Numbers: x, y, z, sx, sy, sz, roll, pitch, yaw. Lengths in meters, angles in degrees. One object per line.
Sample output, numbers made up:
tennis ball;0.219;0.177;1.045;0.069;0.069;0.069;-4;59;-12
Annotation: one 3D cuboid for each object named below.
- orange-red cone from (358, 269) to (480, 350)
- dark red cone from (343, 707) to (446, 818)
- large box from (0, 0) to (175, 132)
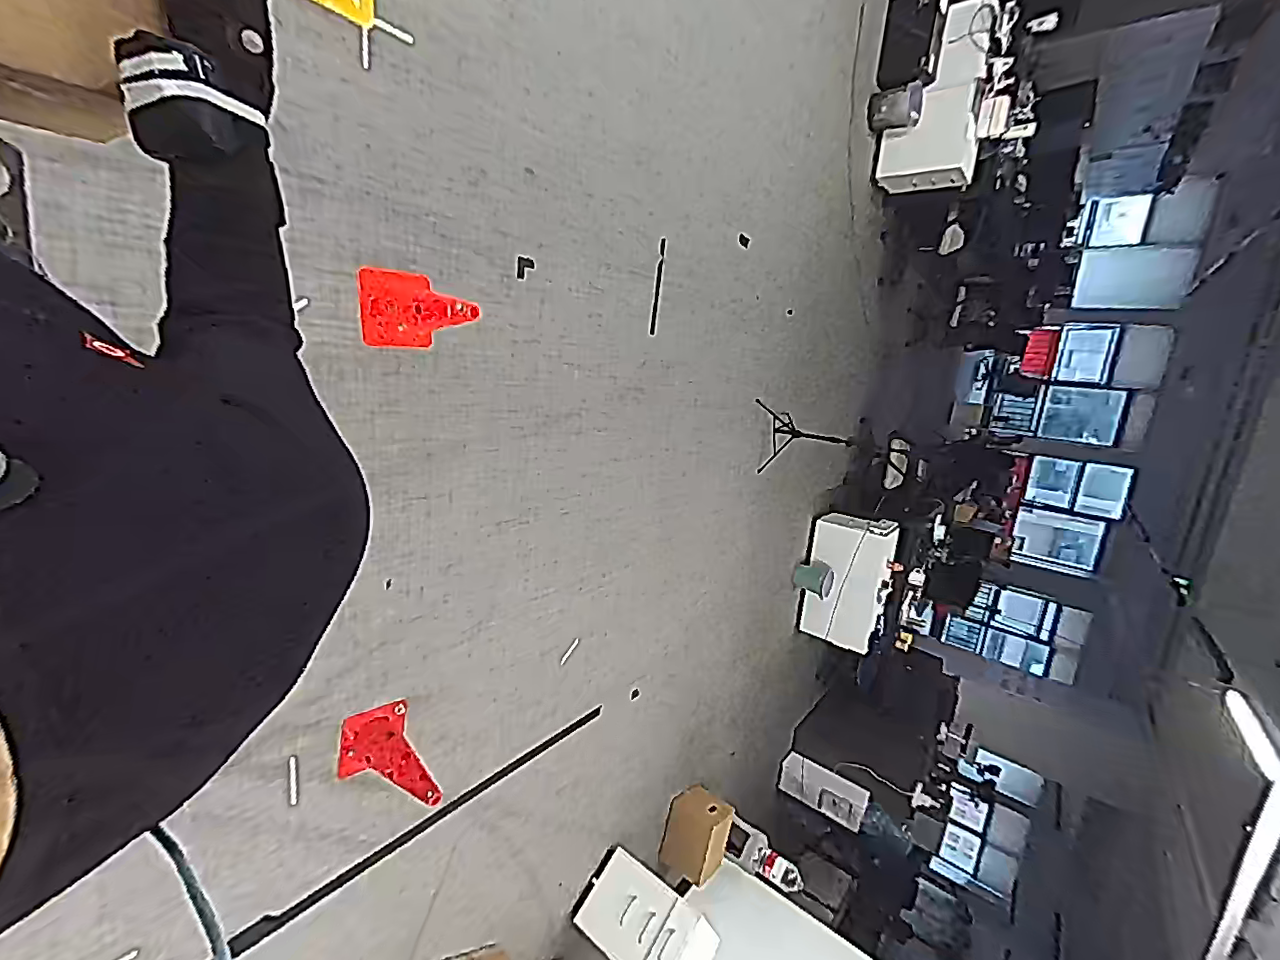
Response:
orange-red cone;-0.532;-0.430;1.373;0.198;0.360;0.199;-14;111;-51
dark red cone;-0.683;0.847;1.568;0.201;0.394;0.202;0;101;-52
large box;-0.559;-0.431;0.284;0.408;0.320;0.320;-13;118;-50
